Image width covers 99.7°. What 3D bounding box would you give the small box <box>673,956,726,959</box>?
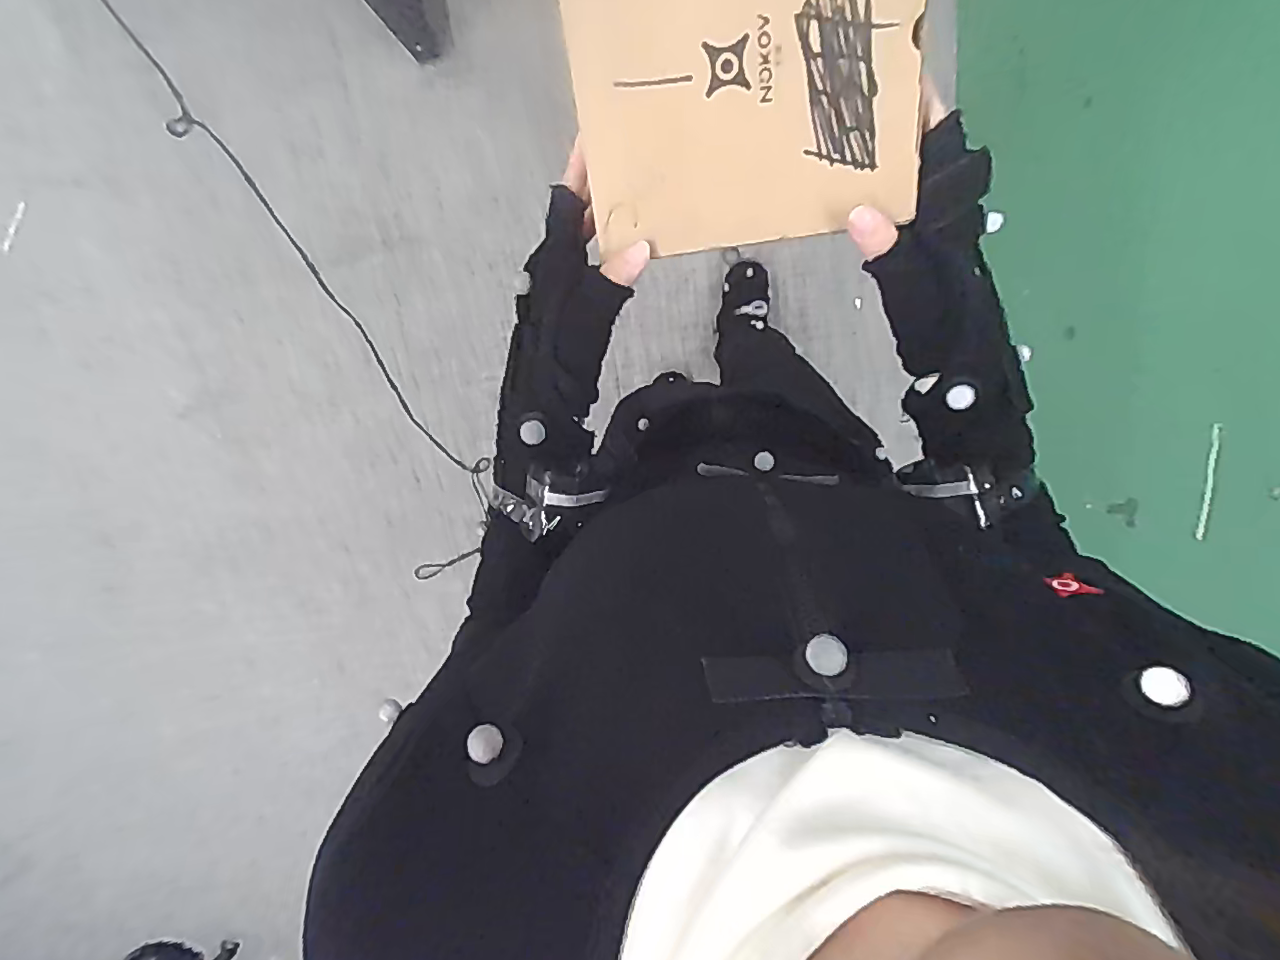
[{"bbox_3d":[0.173,1.430,1.456,0.168,0.176,0.179,-11,104,4],"label":"small box"}]

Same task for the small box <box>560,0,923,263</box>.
[{"bbox_3d":[0.057,-0.244,0.344,0.179,0.176,0.168,-5,117,8],"label":"small box"}]
